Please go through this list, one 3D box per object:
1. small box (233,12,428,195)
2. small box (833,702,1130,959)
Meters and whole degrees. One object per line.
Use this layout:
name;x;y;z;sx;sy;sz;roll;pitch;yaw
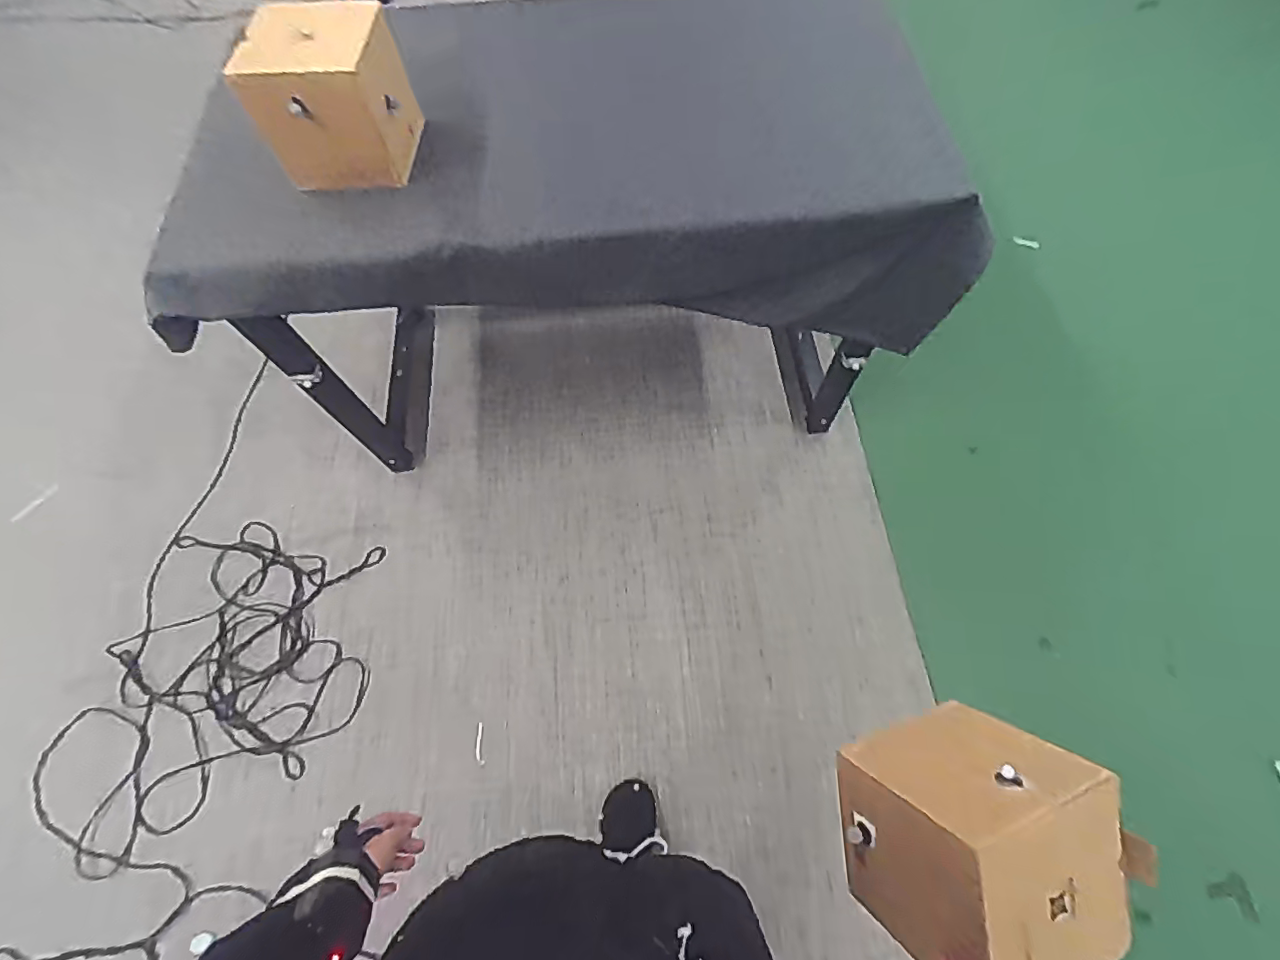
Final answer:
small box;-0.437;-0.548;0.800;0.179;0.176;0.168;0;65;2
small box;0.318;0.341;0.522;0.179;0.176;0.168;-10;93;-20
